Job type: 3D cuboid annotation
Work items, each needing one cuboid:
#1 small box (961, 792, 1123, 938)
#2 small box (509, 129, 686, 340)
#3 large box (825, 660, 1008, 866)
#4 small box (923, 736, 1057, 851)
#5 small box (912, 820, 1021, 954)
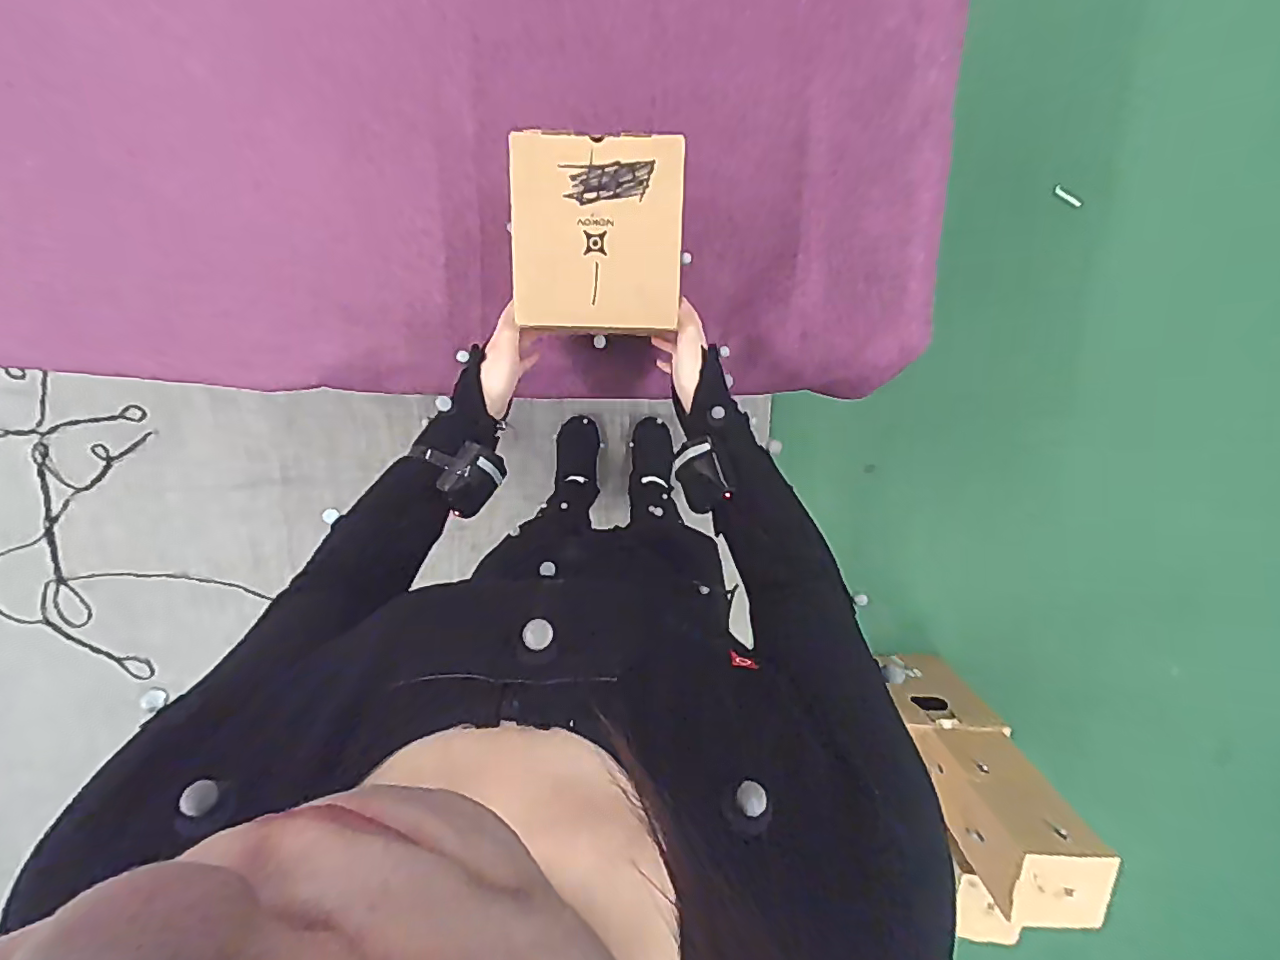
[{"bbox_3d":[0.769,0.741,1.054,0.179,0.176,0.168,2,103,0],"label":"small box"},{"bbox_3d":[-0.042,-0.249,0.588,0.168,0.176,0.179,2,102,1],"label":"small box"},{"bbox_3d":[0.721,0.751,1.473,0.320,0.320,0.408,3,103,1],"label":"large box"},{"bbox_3d":[0.774,0.702,1.214,0.179,0.176,0.168,3,103,0],"label":"small box"},{"bbox_3d":[0.767,0.945,1.265,0.168,0.176,0.179,8,102,-1],"label":"small box"}]
